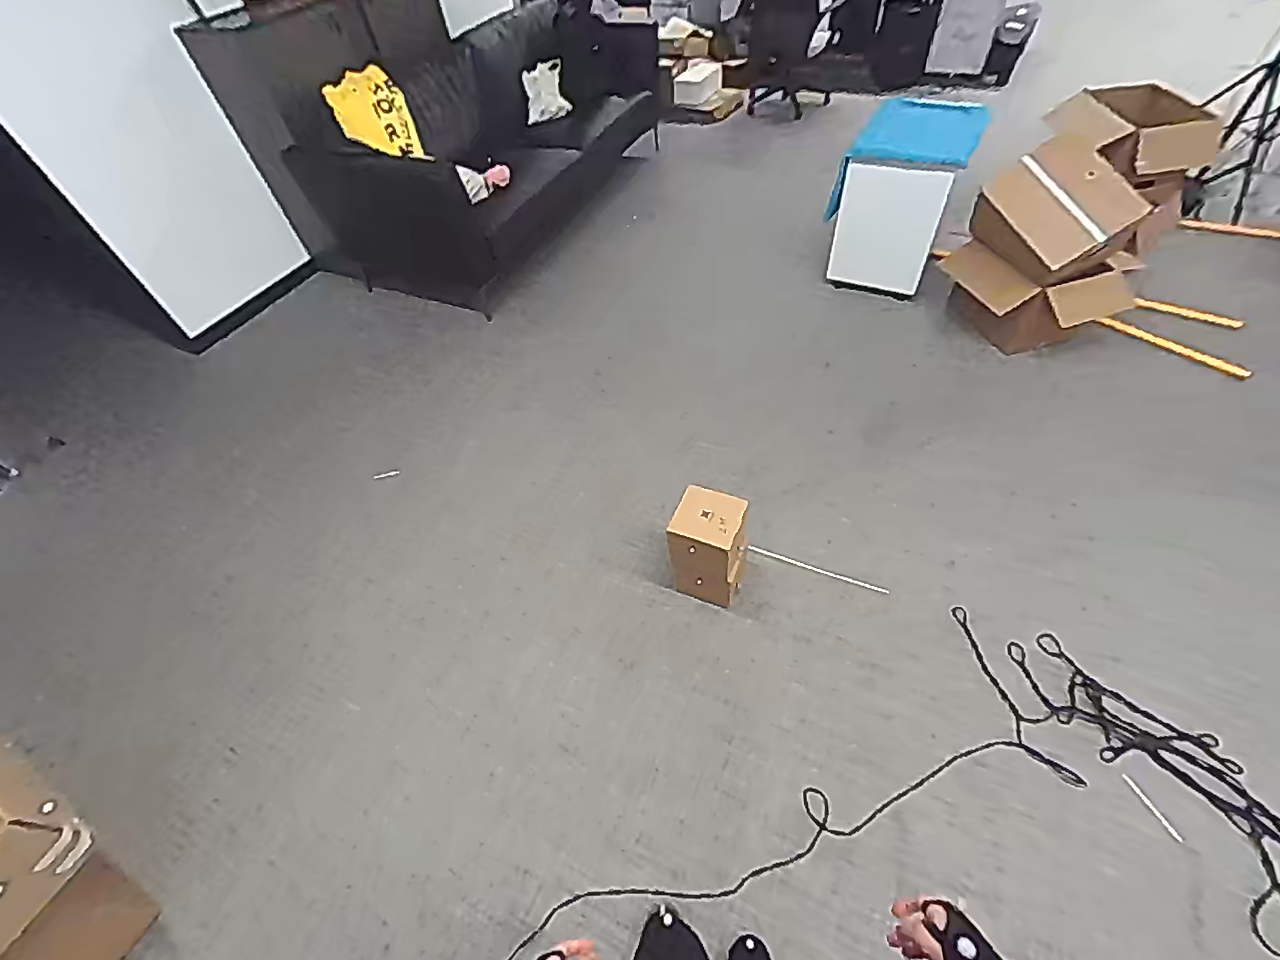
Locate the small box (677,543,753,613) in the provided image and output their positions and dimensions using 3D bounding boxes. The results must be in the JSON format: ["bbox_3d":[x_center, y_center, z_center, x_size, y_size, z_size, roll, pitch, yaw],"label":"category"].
[{"bbox_3d":[0.223,0.272,1.607,0.179,0.176,0.168,16,54,20],"label":"small box"}]

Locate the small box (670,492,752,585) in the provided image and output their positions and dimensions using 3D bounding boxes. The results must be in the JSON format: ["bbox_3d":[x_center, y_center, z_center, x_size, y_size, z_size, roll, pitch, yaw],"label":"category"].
[{"bbox_3d":[0.196,0.164,1.485,0.179,0.176,0.168,16,55,20],"label":"small box"}]
